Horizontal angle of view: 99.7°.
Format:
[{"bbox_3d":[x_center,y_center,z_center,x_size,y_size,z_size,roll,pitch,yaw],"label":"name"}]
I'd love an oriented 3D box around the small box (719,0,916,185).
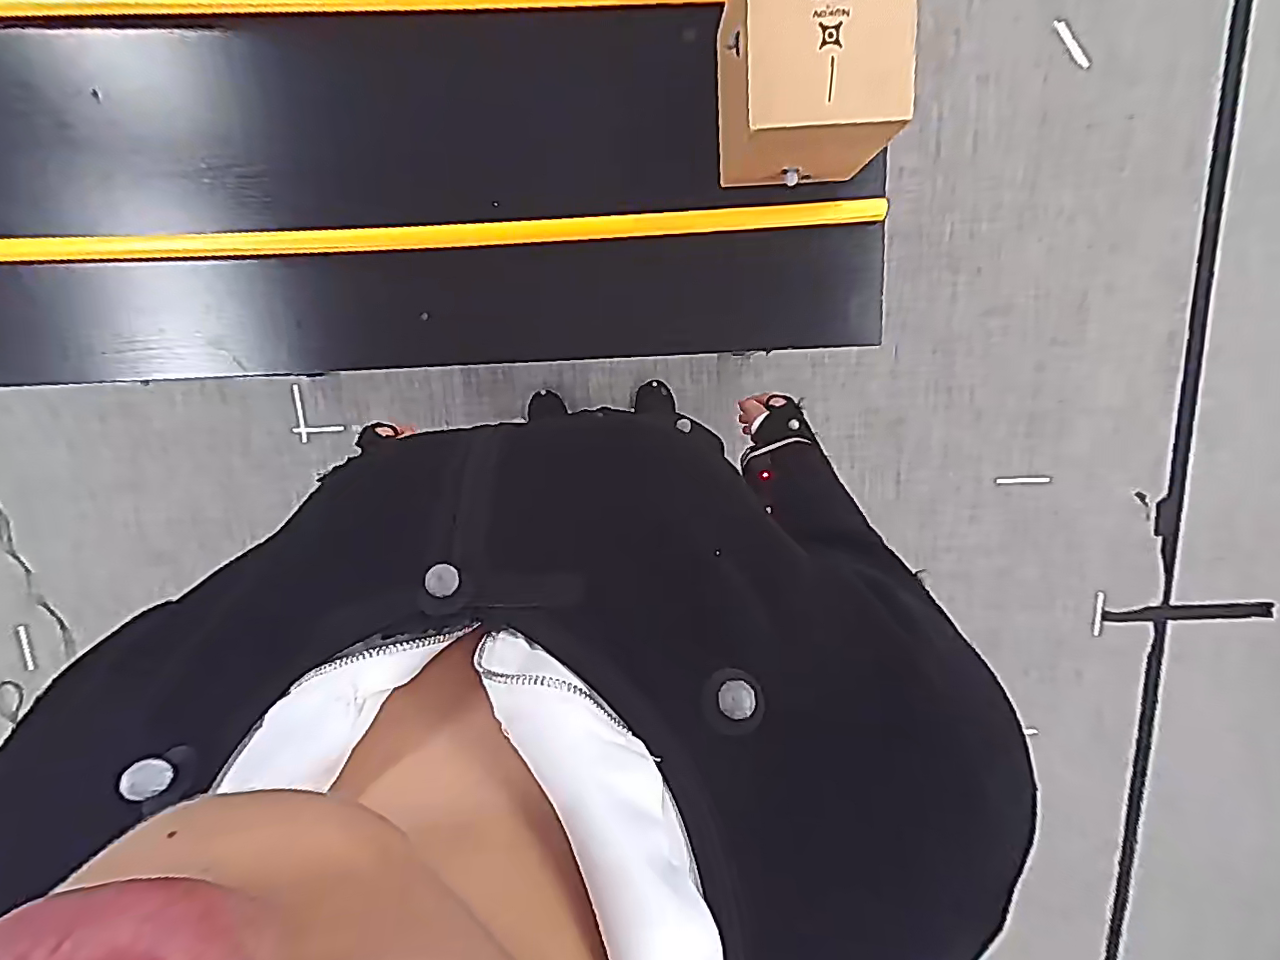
[{"bbox_3d":[0.183,-0.454,0.602,0.168,0.176,0.179,-3,101,0],"label":"small box"}]
